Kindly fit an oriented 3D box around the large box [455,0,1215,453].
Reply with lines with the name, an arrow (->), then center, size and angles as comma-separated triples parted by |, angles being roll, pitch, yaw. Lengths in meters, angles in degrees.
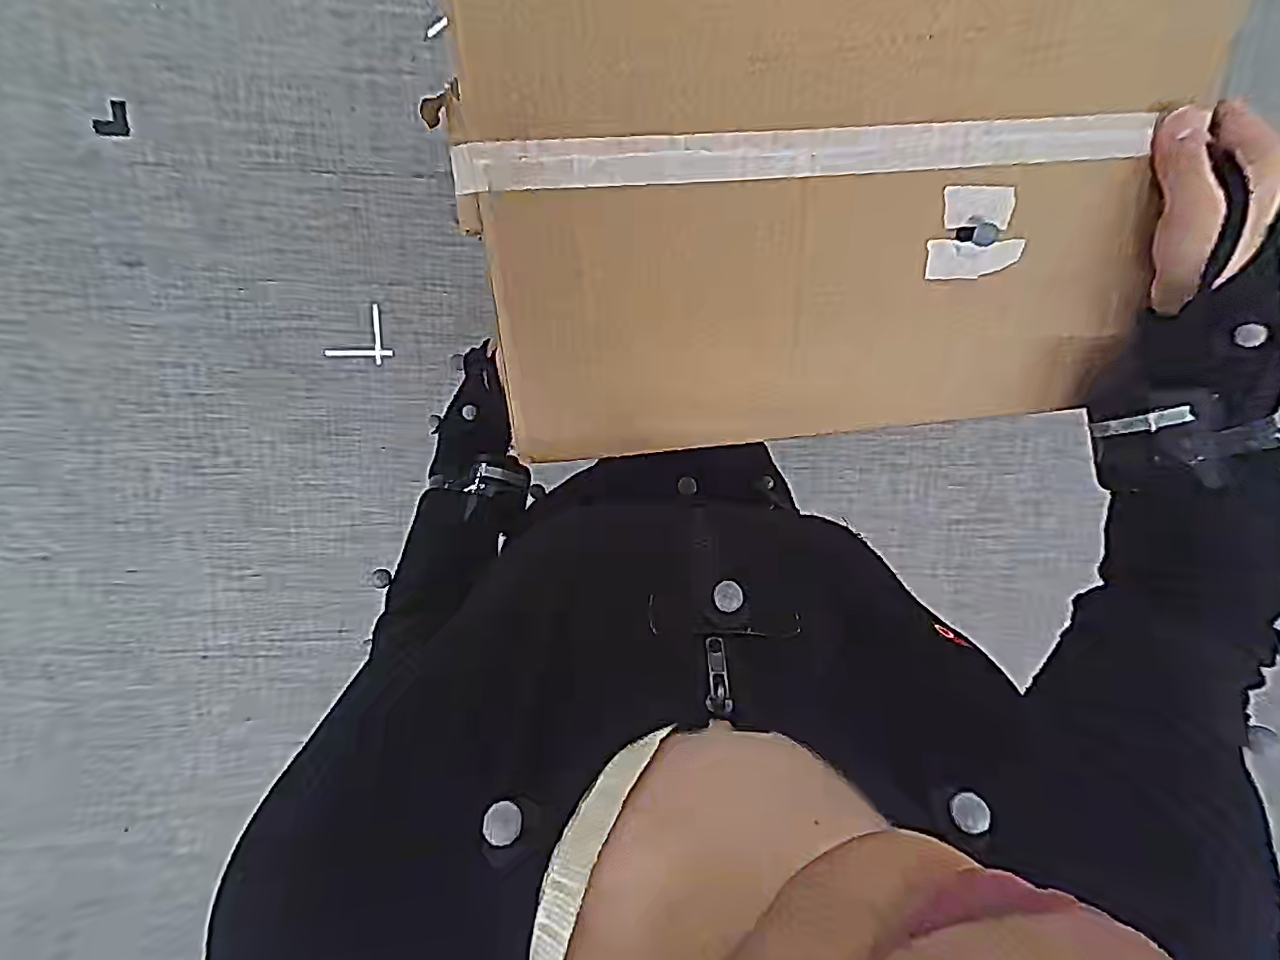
large box -> 0.092, -0.236, 0.430 | 0.408, 0.320, 0.320 | -7, 114, -7
